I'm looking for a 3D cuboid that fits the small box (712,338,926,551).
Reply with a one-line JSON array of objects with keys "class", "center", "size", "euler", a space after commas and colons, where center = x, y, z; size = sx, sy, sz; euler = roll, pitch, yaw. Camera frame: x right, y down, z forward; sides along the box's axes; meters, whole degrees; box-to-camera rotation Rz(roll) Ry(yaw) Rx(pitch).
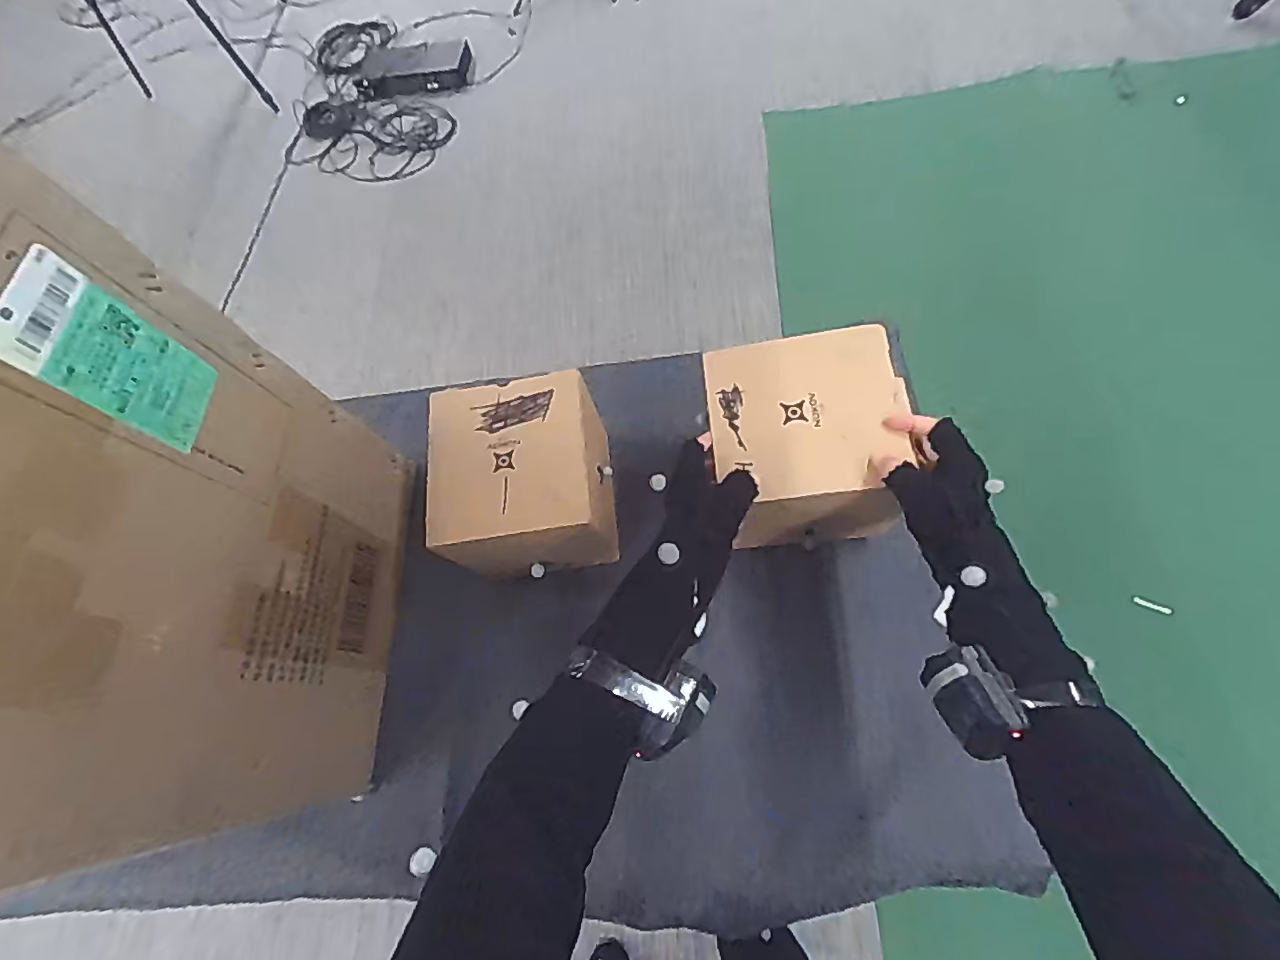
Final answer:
[{"class": "small box", "center": [0.175, -0.027, 0.582], "size": [0.179, 0.176, 0.168], "euler": [-6, 67, 9]}]
